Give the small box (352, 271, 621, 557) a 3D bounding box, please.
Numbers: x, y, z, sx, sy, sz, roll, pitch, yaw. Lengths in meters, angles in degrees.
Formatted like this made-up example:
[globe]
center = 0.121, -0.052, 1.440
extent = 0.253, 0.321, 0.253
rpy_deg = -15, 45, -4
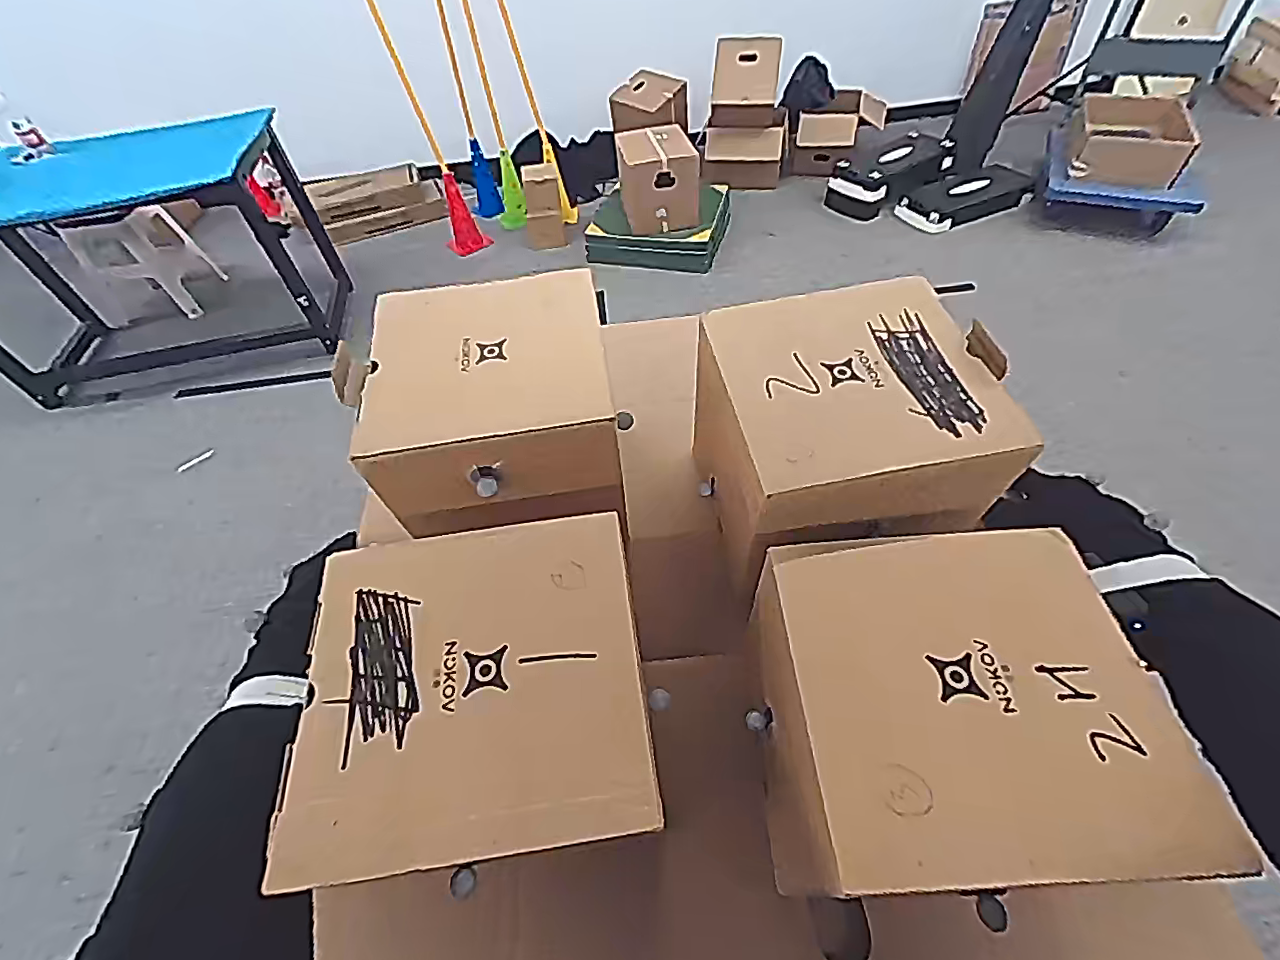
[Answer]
[small box]
center = -0.113, -0.050, 0.470
extent = 0.179, 0.176, 0.168
rpy_deg = -9, 55, -2
